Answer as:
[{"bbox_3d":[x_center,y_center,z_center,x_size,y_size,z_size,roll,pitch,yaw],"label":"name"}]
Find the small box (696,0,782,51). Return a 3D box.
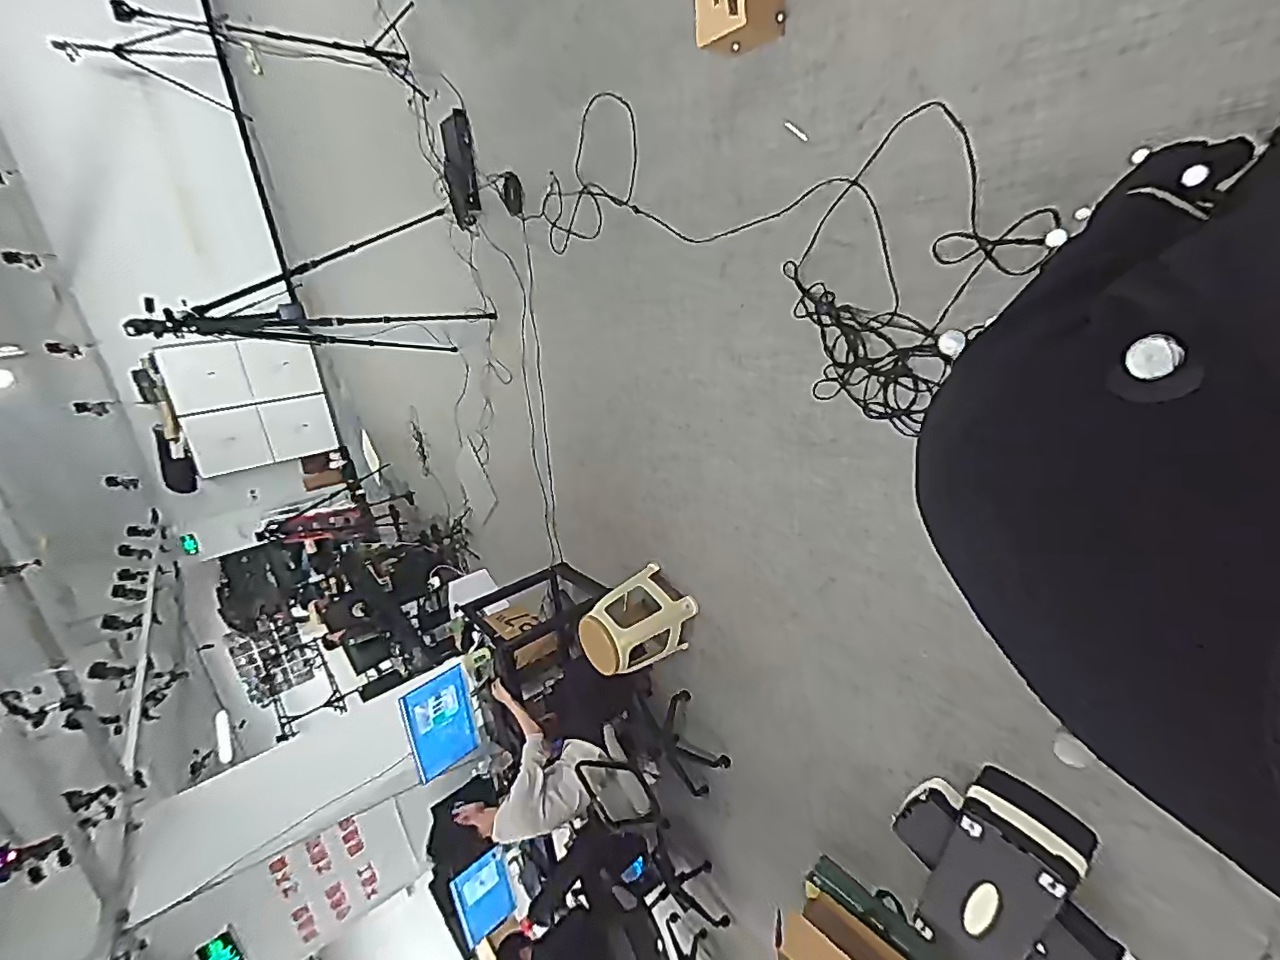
[{"bbox_3d":[0.272,-1.301,1.465,0.179,0.176,0.168,19,121,48],"label":"small box"}]
